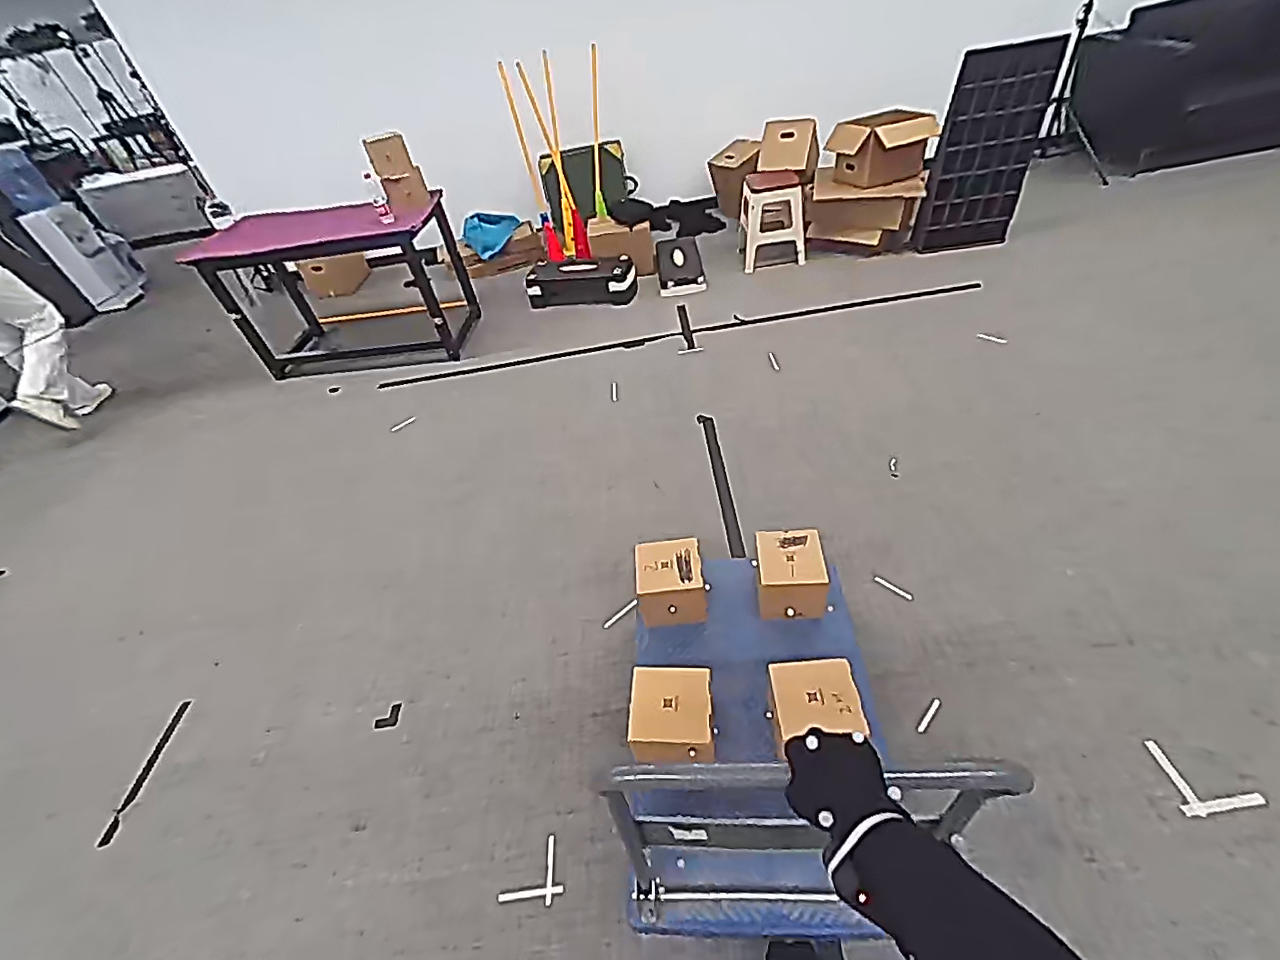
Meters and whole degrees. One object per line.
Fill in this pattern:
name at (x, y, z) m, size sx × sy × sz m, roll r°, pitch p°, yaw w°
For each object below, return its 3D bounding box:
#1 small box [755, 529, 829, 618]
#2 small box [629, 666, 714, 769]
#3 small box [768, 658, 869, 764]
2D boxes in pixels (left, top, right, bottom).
small box at (0.402, 0.254, 1.463) m, size 0.168 × 0.176 × 0.179 m, roll -3°, pitch 45°, yaw 8°
small box at (0.078, 0.541, 1.229) m, size 0.179 × 0.176 × 0.168 m, roll -2°, pitch 44°, yaw 7°
small box at (0.384, 0.515, 1.197) m, size 0.179 × 0.176 × 0.168 m, roll -6°, pitch 44°, yaw 5°
